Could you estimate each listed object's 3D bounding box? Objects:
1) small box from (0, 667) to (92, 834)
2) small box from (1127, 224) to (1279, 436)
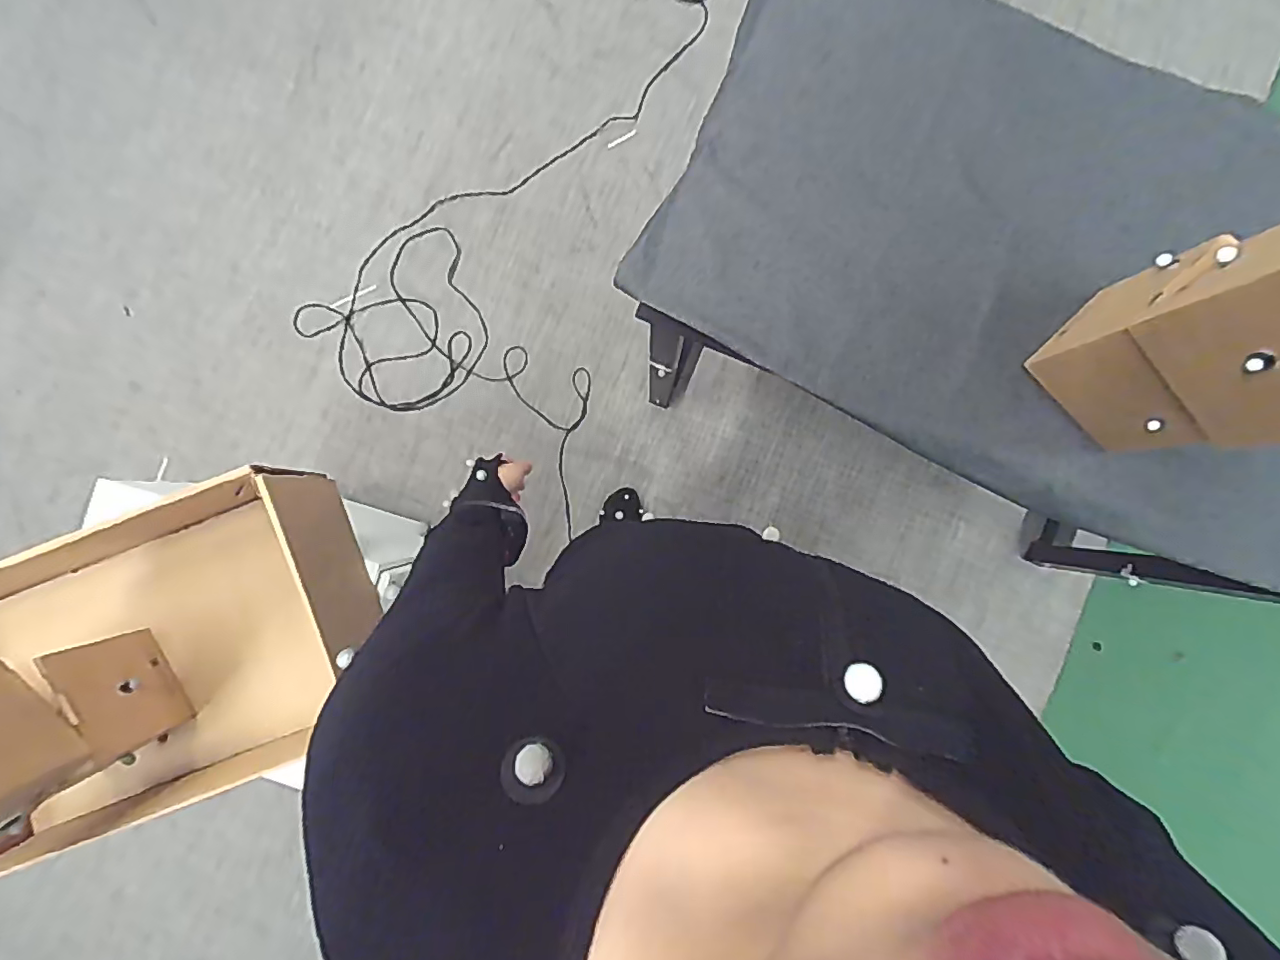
[{"bbox_3d":[-0.818,0.340,0.618,0.179,0.176,0.168,44,89,-1],"label":"small box"},{"bbox_3d":[0.654,-0.156,0.525,0.168,0.176,0.179,-36,87,-2],"label":"small box"}]
